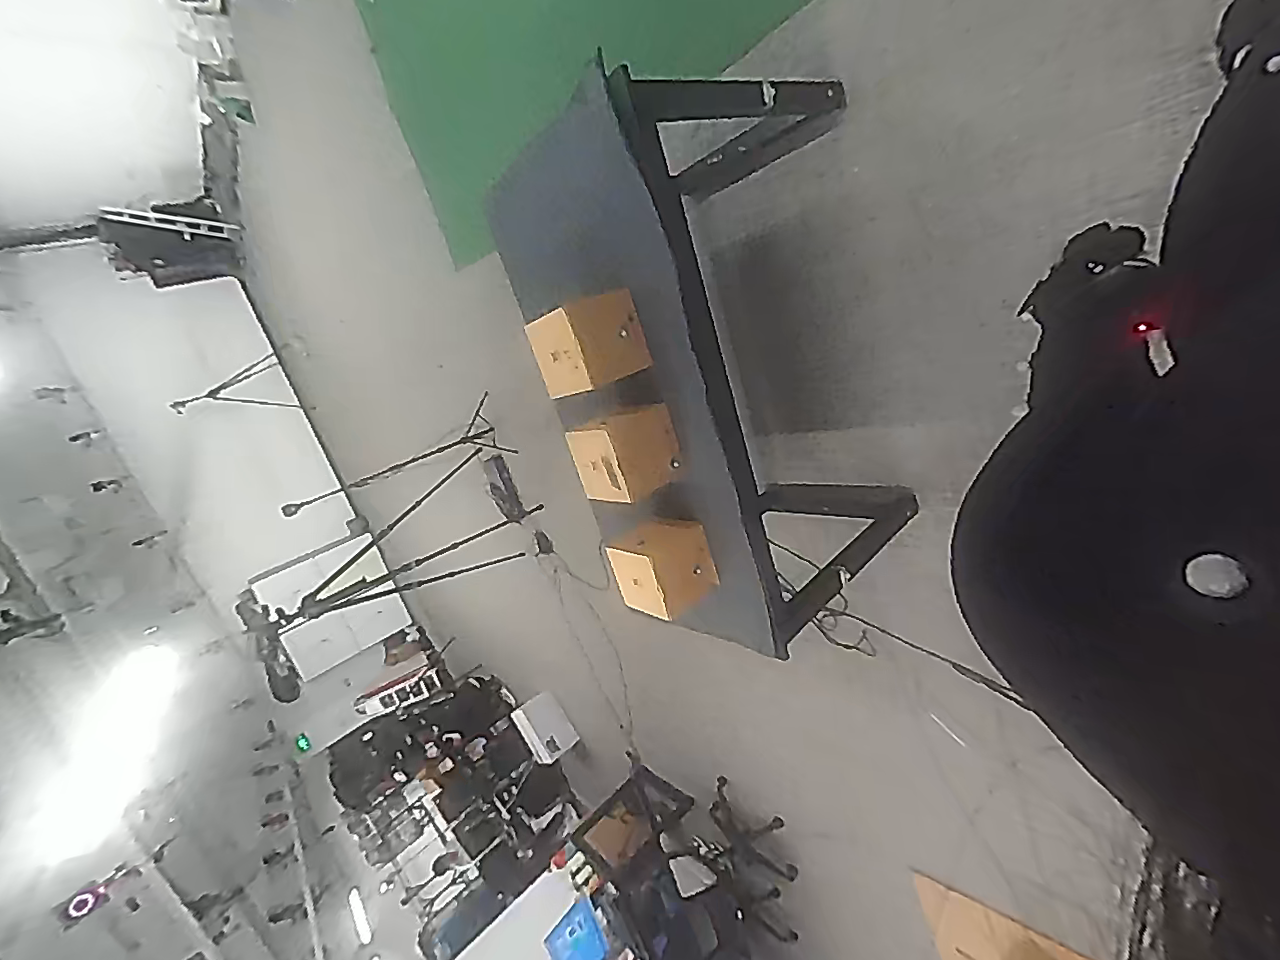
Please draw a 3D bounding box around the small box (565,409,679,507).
[{"bbox_3d":[-0.032,-0.053,1.203,0.179,0.176,0.168,3,115,52],"label":"small box"}]

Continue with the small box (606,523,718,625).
[{"bbox_3d":[0.053,0.212,1.279,0.179,0.176,0.168,1,113,53],"label":"small box"}]

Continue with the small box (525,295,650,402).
[{"bbox_3d":[-0.109,-0.275,1.144,0.179,0.176,0.168,0,114,52],"label":"small box"}]
